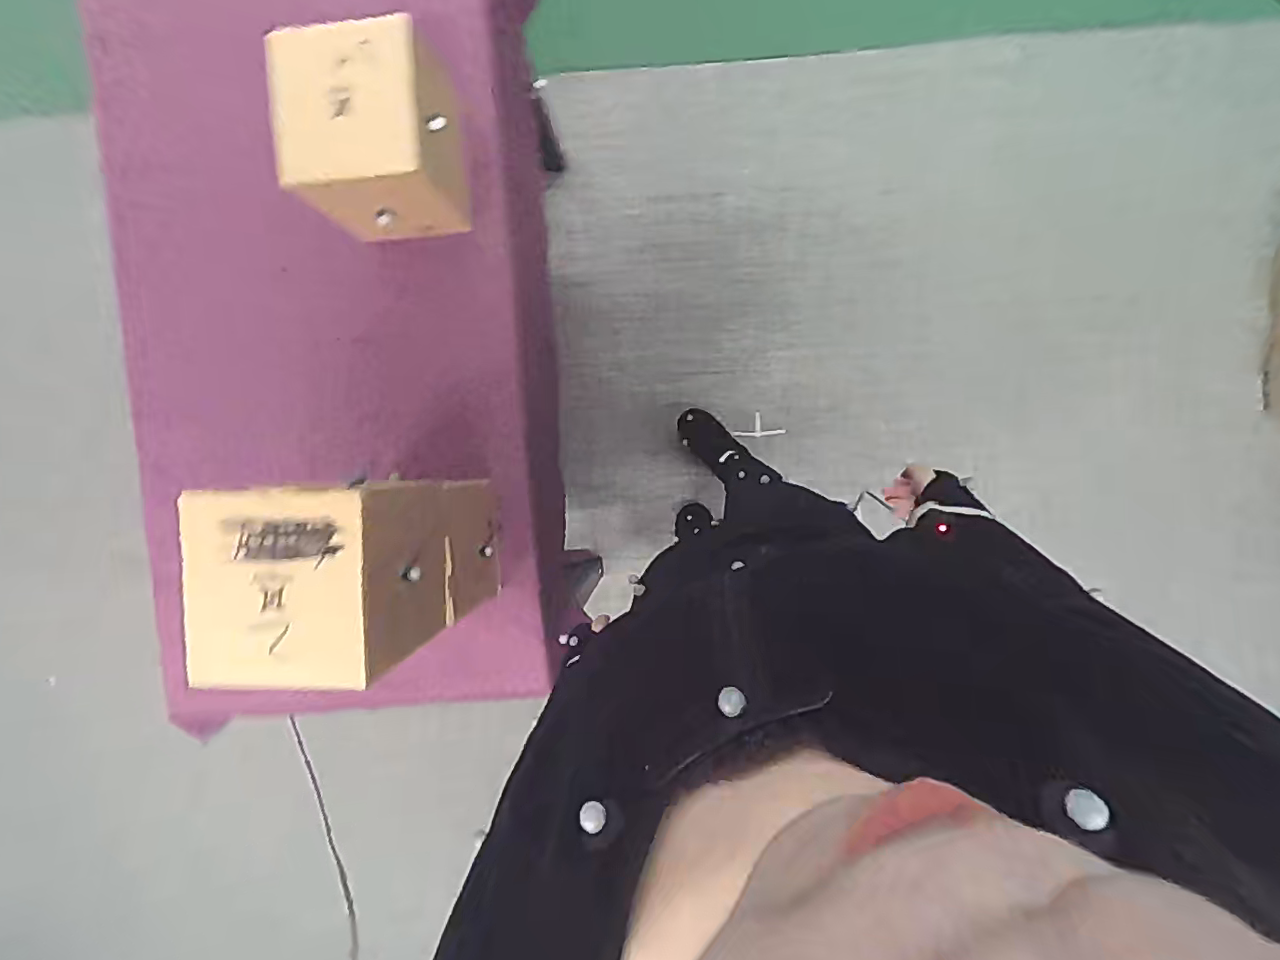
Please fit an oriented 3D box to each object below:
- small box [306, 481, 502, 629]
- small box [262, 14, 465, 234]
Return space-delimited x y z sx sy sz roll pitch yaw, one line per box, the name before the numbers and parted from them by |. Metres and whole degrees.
small box | -0.299 0.089 0.714 0.179 0.176 0.168 -4 92 3
small box | -0.336 -0.431 0.689 0.168 0.176 0.179 -4 93 3
